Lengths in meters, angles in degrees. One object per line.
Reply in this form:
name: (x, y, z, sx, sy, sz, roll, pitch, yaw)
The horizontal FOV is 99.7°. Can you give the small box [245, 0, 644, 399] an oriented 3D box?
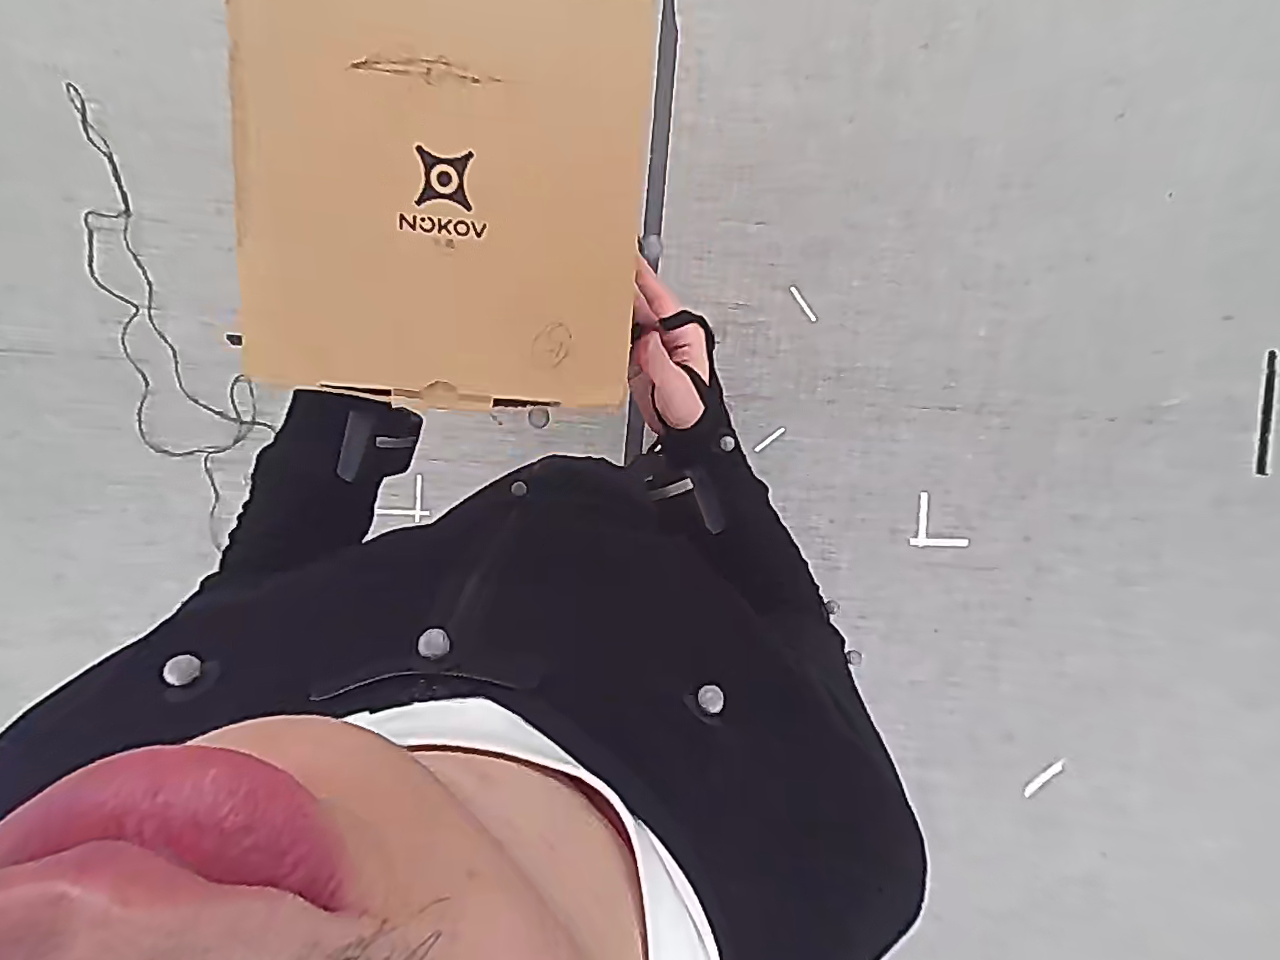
small box: (-0.090, -0.141, 0.317, 0.168, 0.176, 0.179, 2, 98, -6)
